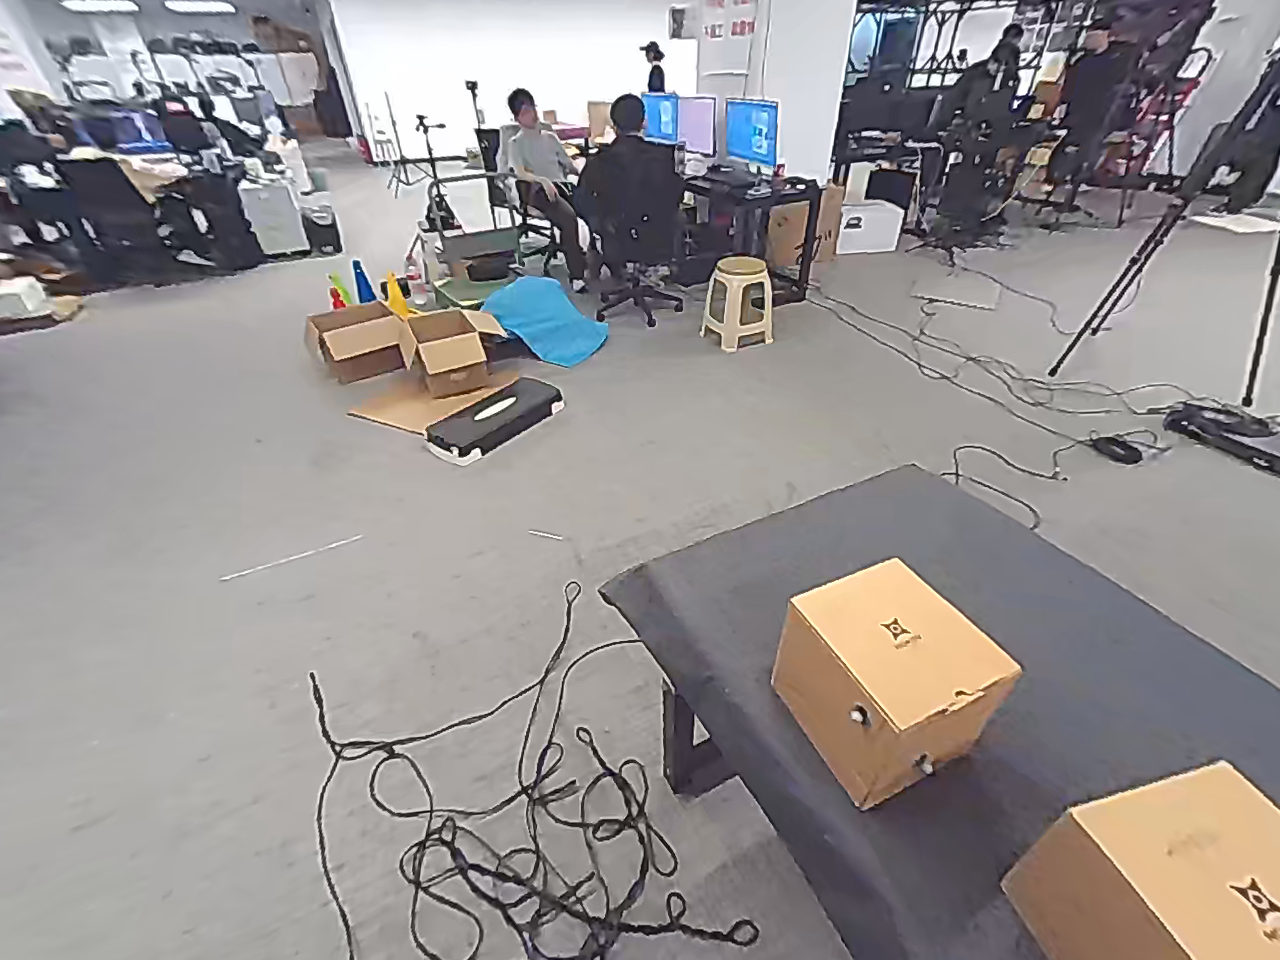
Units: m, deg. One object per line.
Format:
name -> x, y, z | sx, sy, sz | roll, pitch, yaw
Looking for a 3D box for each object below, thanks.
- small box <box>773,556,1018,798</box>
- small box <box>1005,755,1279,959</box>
small box -> 0.277, 0.225, 0.633 | 0.168, 0.176, 0.179 | -15, 40, -19
small box -> 0.449, 0.365, 0.434 | 0.168, 0.176, 0.179 | -10, 35, -10
